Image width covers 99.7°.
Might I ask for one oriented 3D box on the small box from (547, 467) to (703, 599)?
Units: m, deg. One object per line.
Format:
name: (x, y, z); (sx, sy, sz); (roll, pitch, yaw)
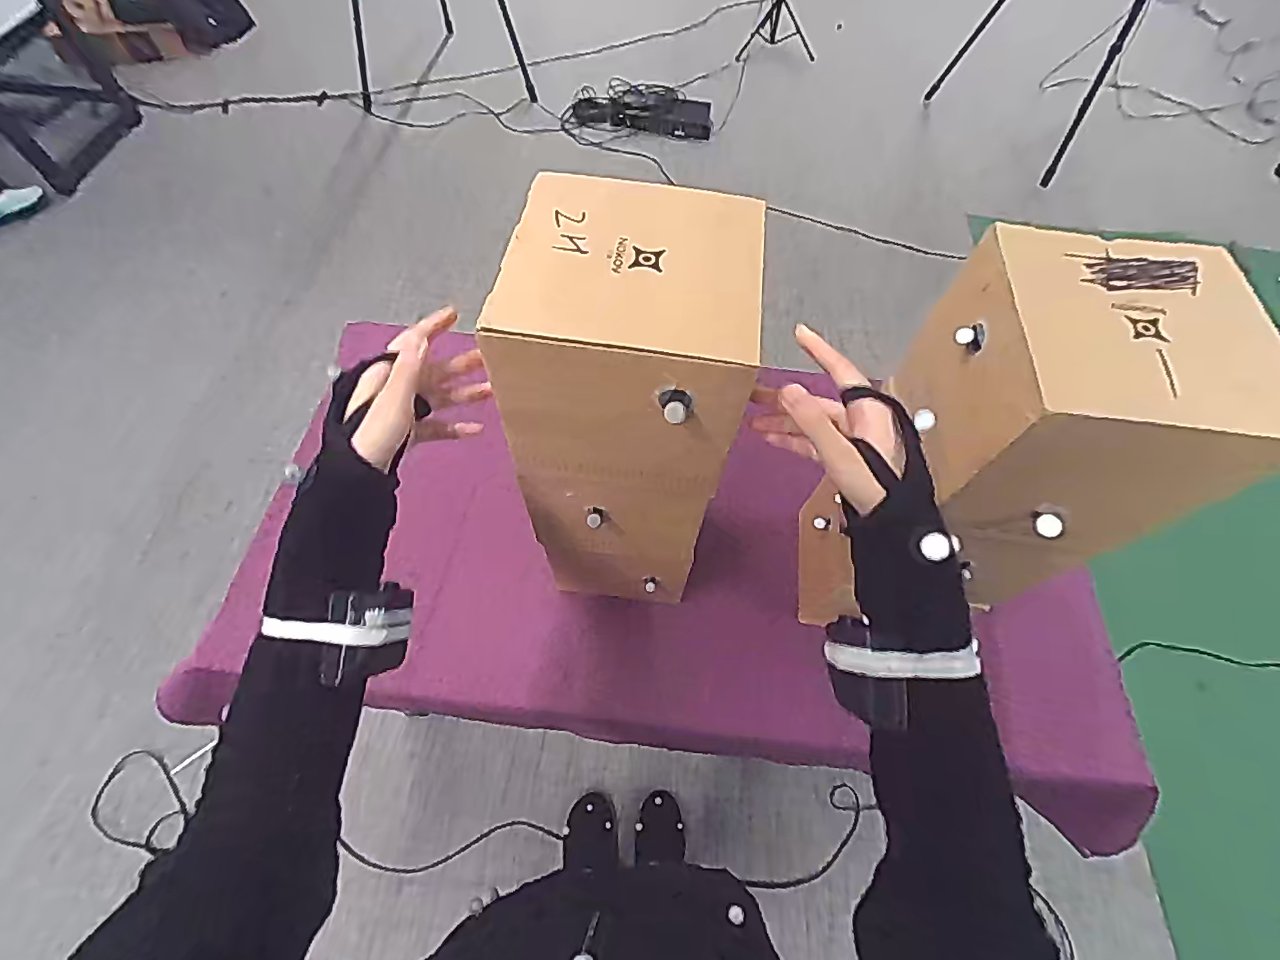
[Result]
small box: (-0.015, 0.050, 0.725); (0.179, 0.176, 0.168); (7, 59, 2)

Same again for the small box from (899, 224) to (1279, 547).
small box: (0.326, -0.067, 0.428); (0.168, 0.176, 0.179); (7, 61, 3)

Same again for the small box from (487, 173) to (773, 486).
small box: (-0.001, -0.111, 0.438); (0.179, 0.176, 0.168); (8, 59, 2)

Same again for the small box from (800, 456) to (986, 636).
small box: (0.317, 0.094, 0.715); (0.168, 0.176, 0.179); (9, 60, 3)
